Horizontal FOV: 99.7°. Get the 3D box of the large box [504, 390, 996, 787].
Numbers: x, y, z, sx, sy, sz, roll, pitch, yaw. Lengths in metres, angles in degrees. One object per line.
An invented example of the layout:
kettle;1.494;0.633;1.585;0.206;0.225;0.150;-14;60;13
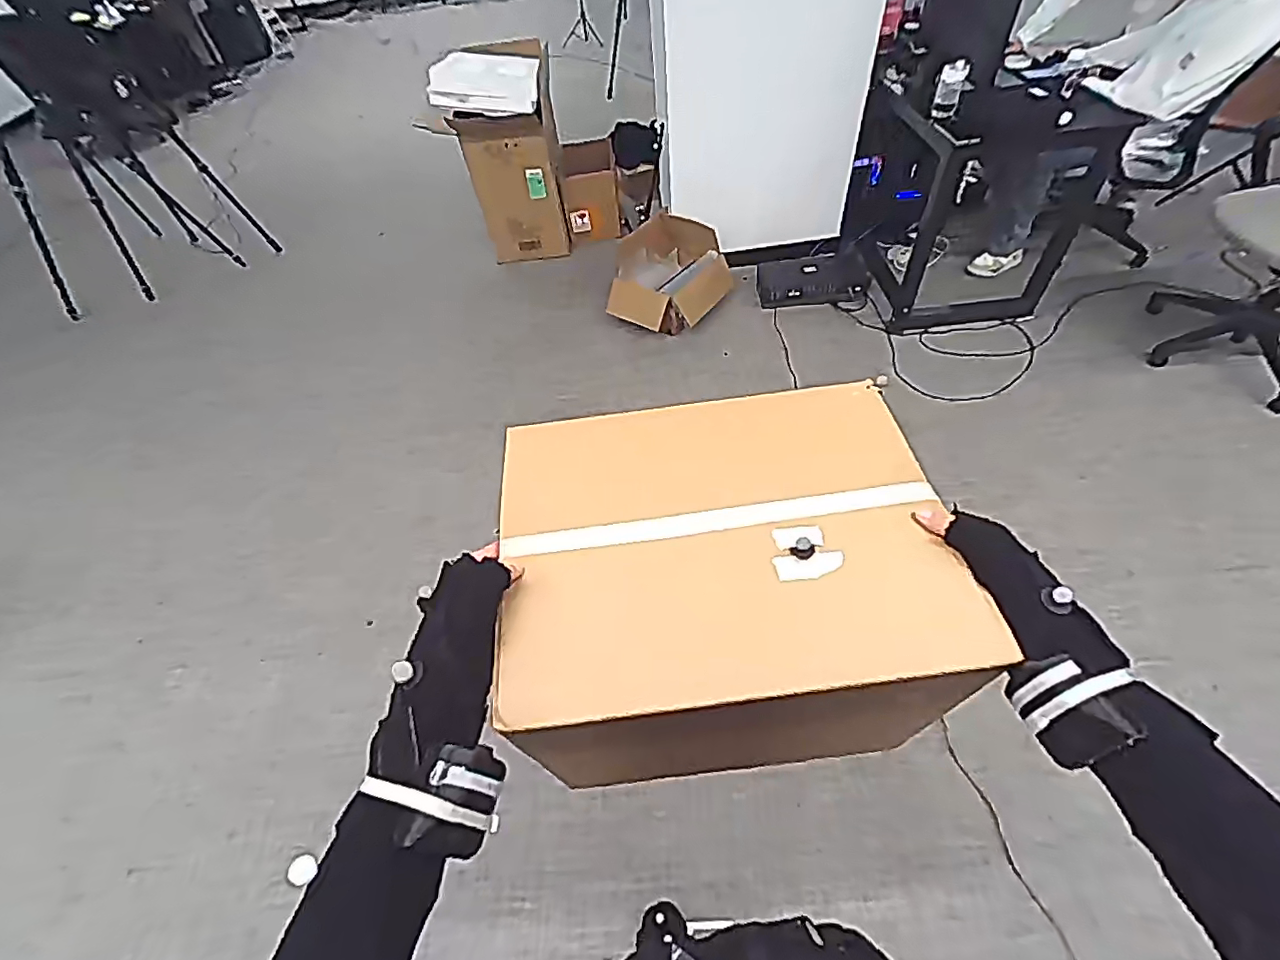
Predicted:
large box;0.081;0.135;0.631;0.408;0.320;0.320;-8;53;0
